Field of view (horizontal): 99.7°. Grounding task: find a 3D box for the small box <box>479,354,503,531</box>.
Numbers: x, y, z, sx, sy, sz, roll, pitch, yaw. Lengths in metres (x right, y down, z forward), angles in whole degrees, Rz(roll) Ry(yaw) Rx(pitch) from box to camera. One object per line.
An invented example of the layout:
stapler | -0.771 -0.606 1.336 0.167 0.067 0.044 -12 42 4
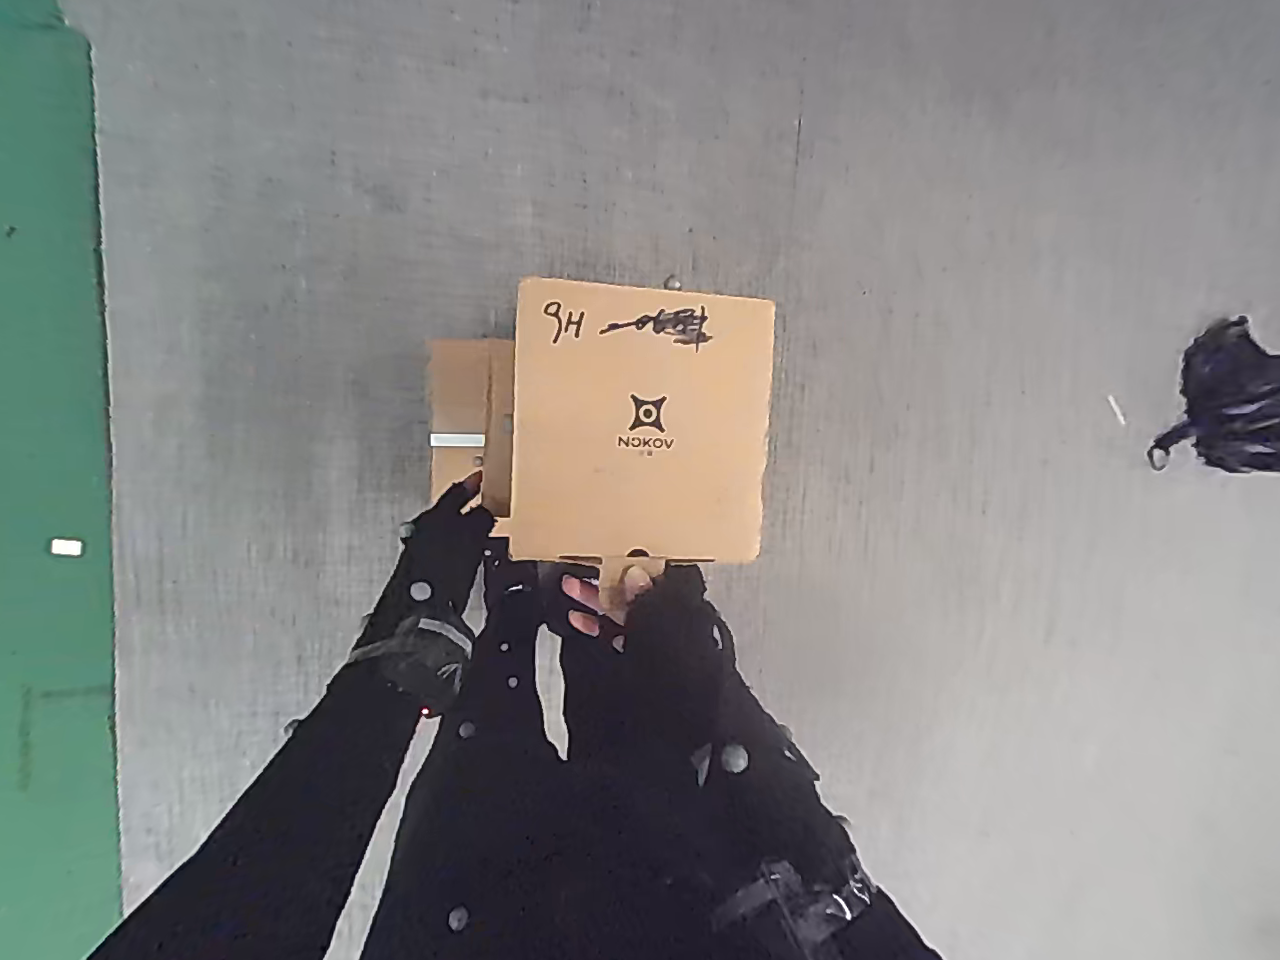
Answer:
small box | -0.091 -0.045 0.622 0.168 0.176 0.179 2 99 -13

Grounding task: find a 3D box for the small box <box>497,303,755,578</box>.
small box | -0.020 -0.029 0.432 0.168 0.176 0.179 1 95 -10
